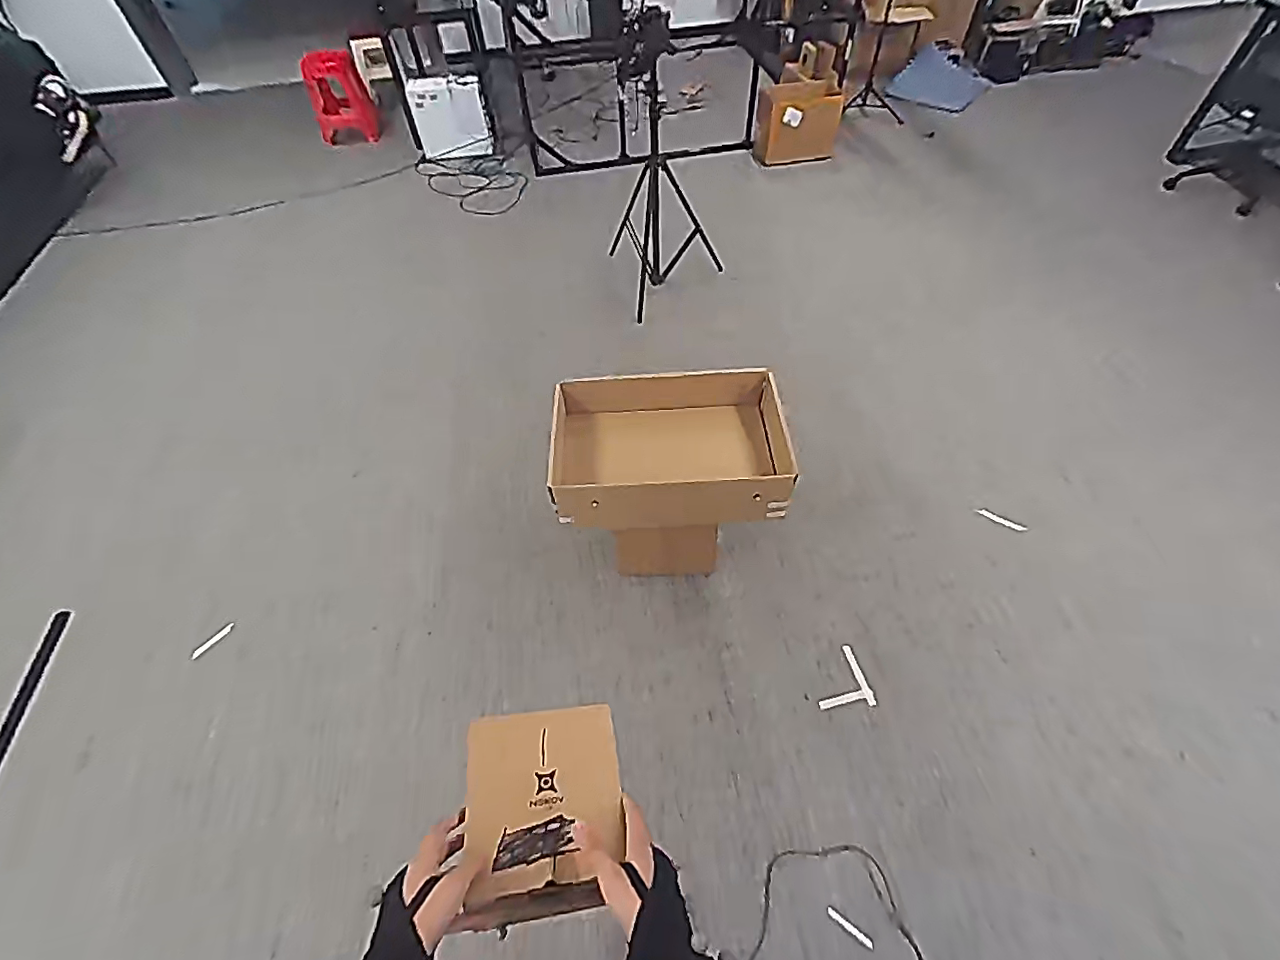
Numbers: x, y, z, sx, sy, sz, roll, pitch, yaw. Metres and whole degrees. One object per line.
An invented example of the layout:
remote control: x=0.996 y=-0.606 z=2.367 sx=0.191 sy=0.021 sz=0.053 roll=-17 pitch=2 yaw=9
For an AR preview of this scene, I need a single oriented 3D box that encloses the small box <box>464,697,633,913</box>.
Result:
small box: x=-0.109 y=0.382 z=0.635 sx=0.168 sy=0.176 sz=0.179 roll=-1 pitch=44 yaw=-13
